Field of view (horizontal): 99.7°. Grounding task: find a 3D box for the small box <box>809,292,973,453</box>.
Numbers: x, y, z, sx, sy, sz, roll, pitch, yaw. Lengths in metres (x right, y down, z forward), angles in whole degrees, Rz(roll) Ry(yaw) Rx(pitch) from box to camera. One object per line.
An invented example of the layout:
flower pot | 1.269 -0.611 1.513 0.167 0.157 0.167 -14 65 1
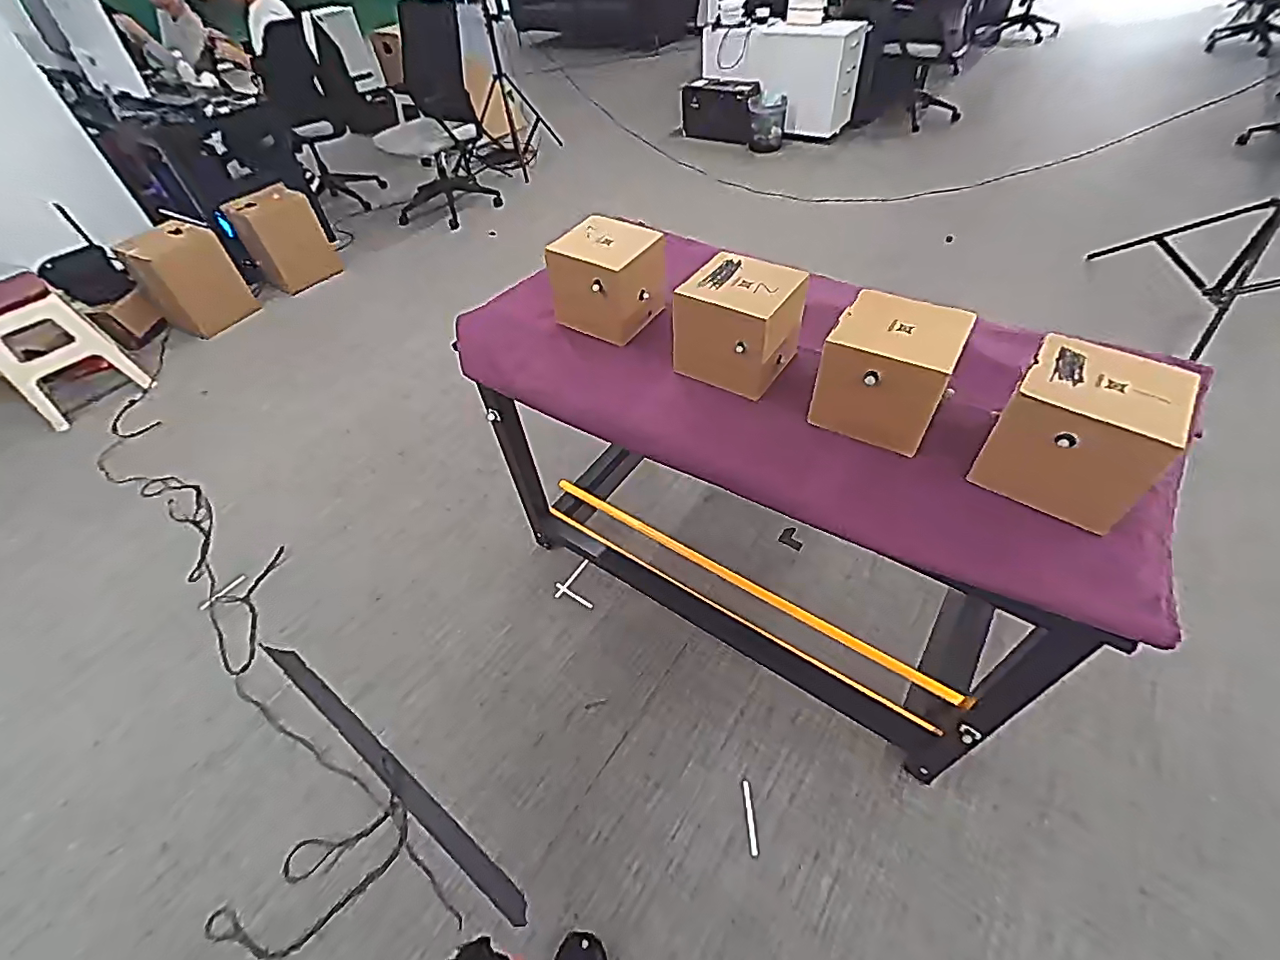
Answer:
small box | 0.392 -0.168 0.866 0.179 0.176 0.168 23 55 25

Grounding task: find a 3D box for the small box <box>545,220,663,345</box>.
small box | -0.066 -0.401 1.110 0.179 0.176 0.168 25 55 22

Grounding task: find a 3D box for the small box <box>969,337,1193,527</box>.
small box | 0.593 -0.065 0.747 0.179 0.176 0.168 29 56 27
